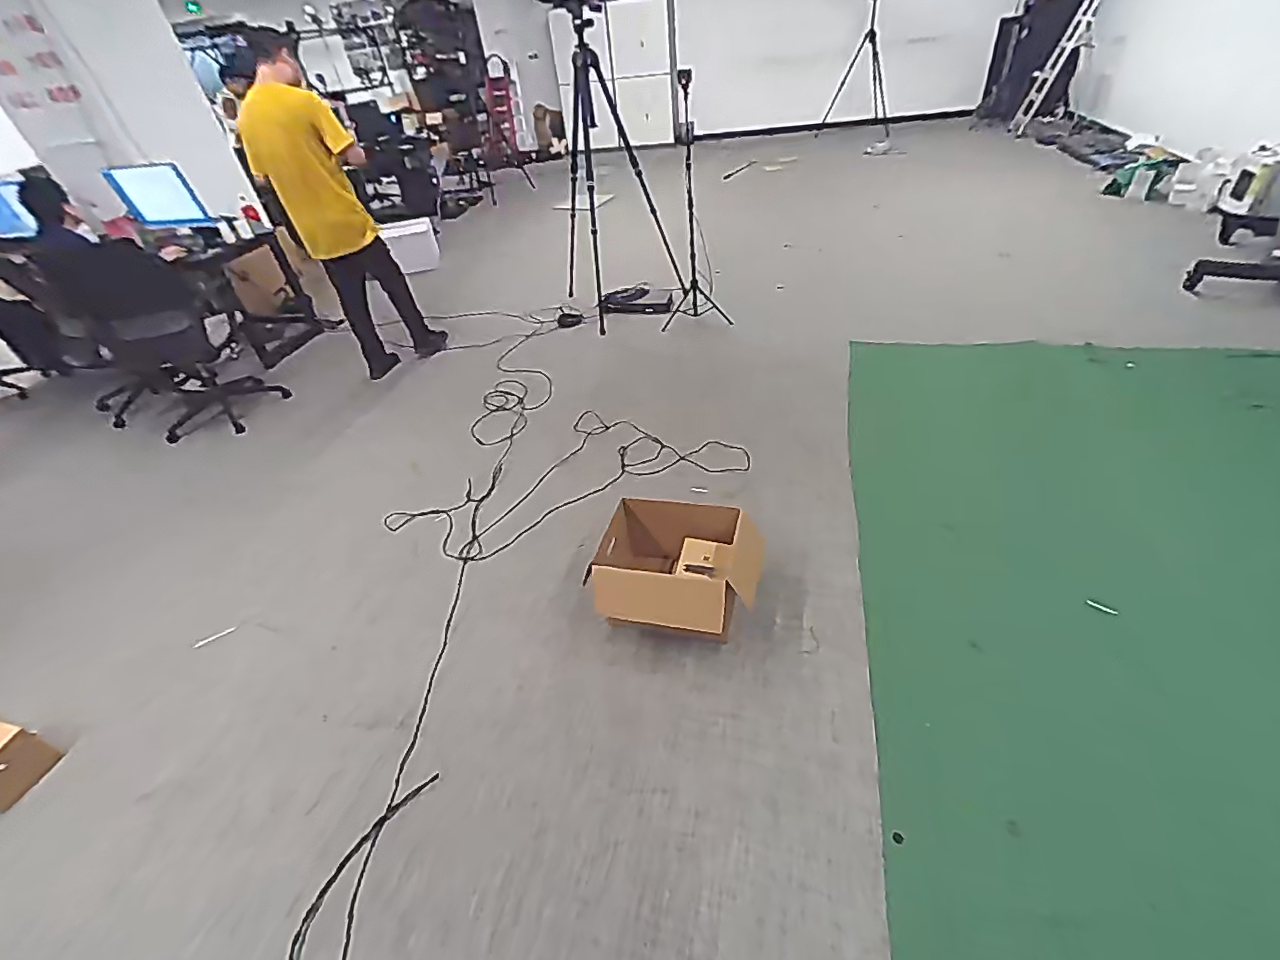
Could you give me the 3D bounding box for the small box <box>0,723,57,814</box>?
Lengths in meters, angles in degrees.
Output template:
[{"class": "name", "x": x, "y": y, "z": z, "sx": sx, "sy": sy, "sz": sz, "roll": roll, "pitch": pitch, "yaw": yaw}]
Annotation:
[{"class": "small box", "x": -1.855, "y": 0.821, "z": 1.550, "sx": 0.168, "sy": 0.176, "sz": 0.179, "roll": 4, "pitch": 42, "yaw": 13}]
